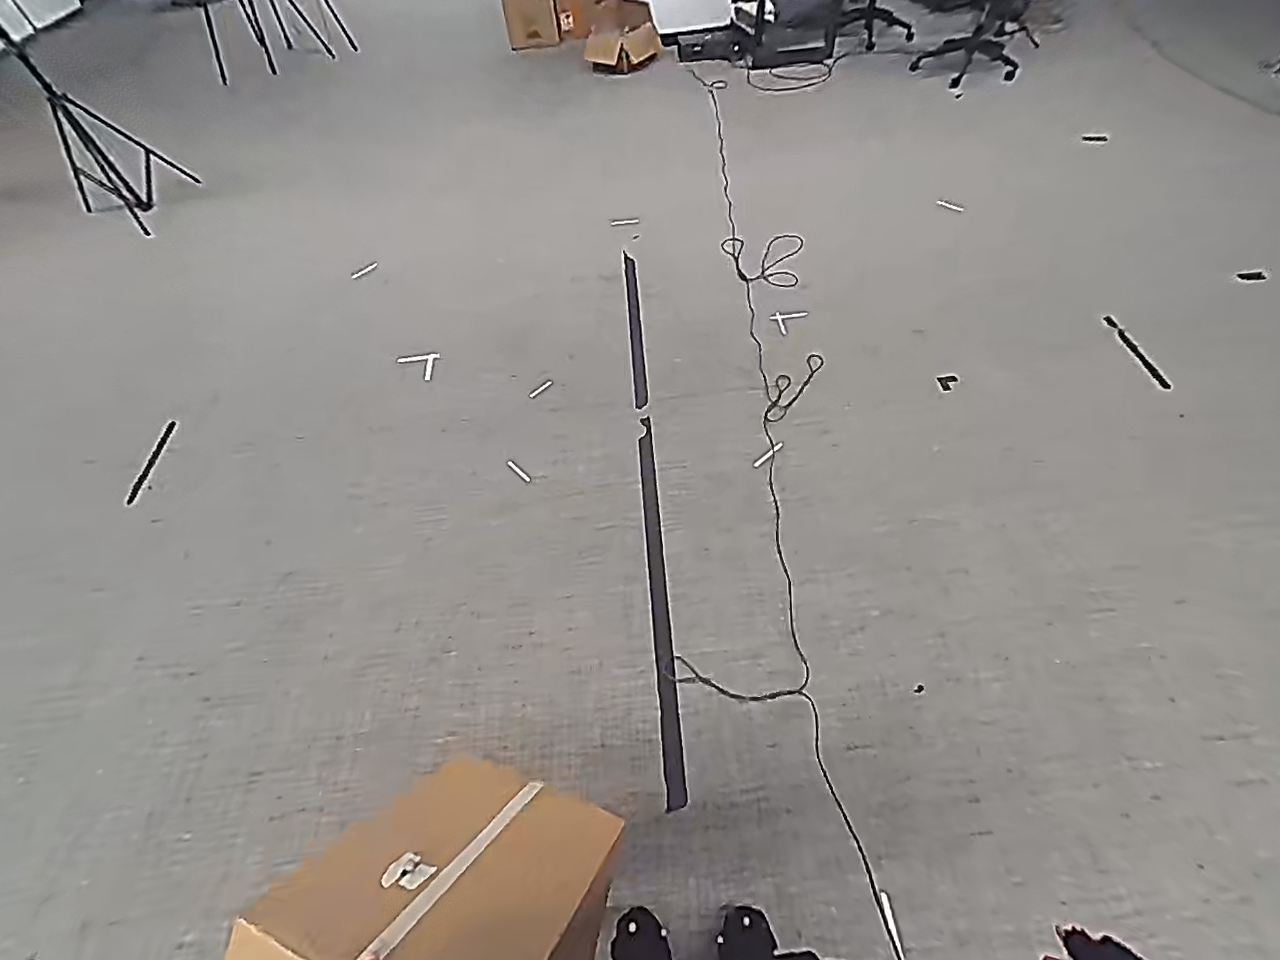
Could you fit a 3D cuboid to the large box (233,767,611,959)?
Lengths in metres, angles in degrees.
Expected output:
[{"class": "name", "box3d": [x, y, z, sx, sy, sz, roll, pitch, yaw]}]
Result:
[{"class": "large box", "box3d": [-0.271, 0.676, 0.727, 0.320, 0.408, 0.320, 12, 91, 17]}]
